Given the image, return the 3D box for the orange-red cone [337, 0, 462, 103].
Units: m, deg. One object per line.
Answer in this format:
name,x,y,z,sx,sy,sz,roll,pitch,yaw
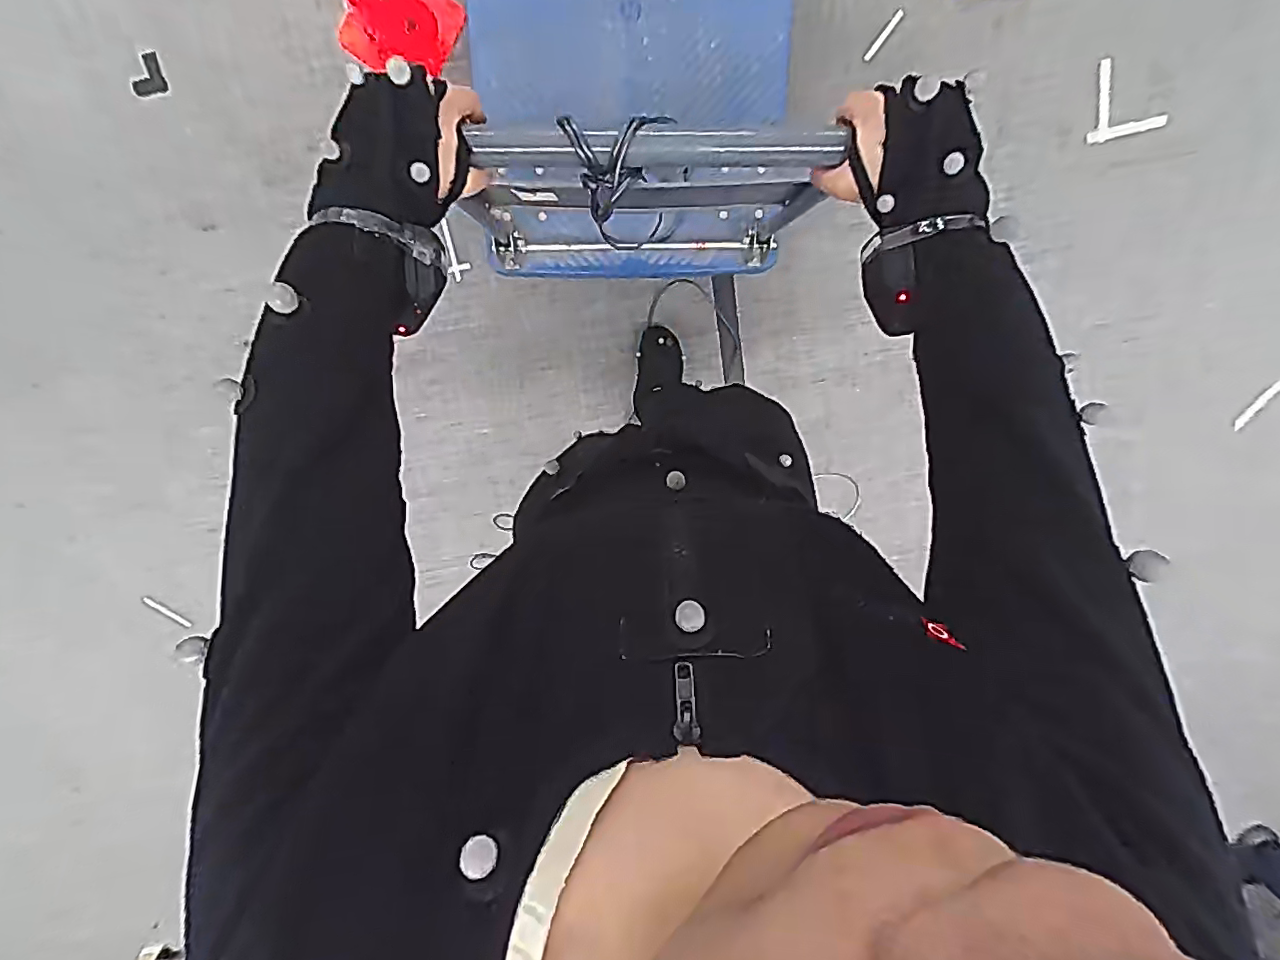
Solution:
orange-red cone,-0.474,-0.854,0.921,0.198,0.360,0.199,34,102,-12
